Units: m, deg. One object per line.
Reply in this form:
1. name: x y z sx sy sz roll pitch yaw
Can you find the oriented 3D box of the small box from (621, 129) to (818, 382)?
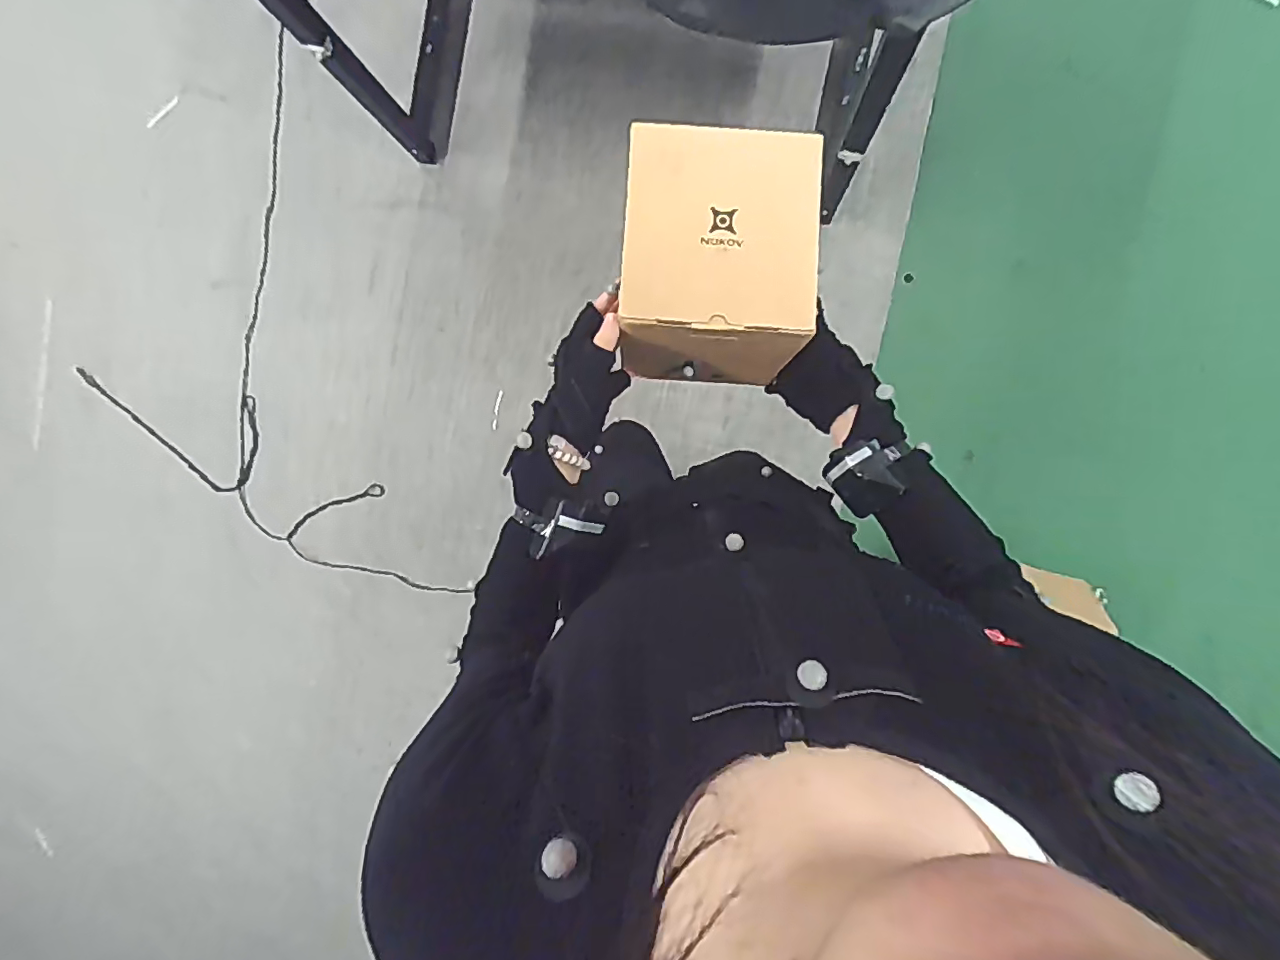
1. small box: 0.068 -0.210 0.547 0.168 0.176 0.179 4 87 -1
